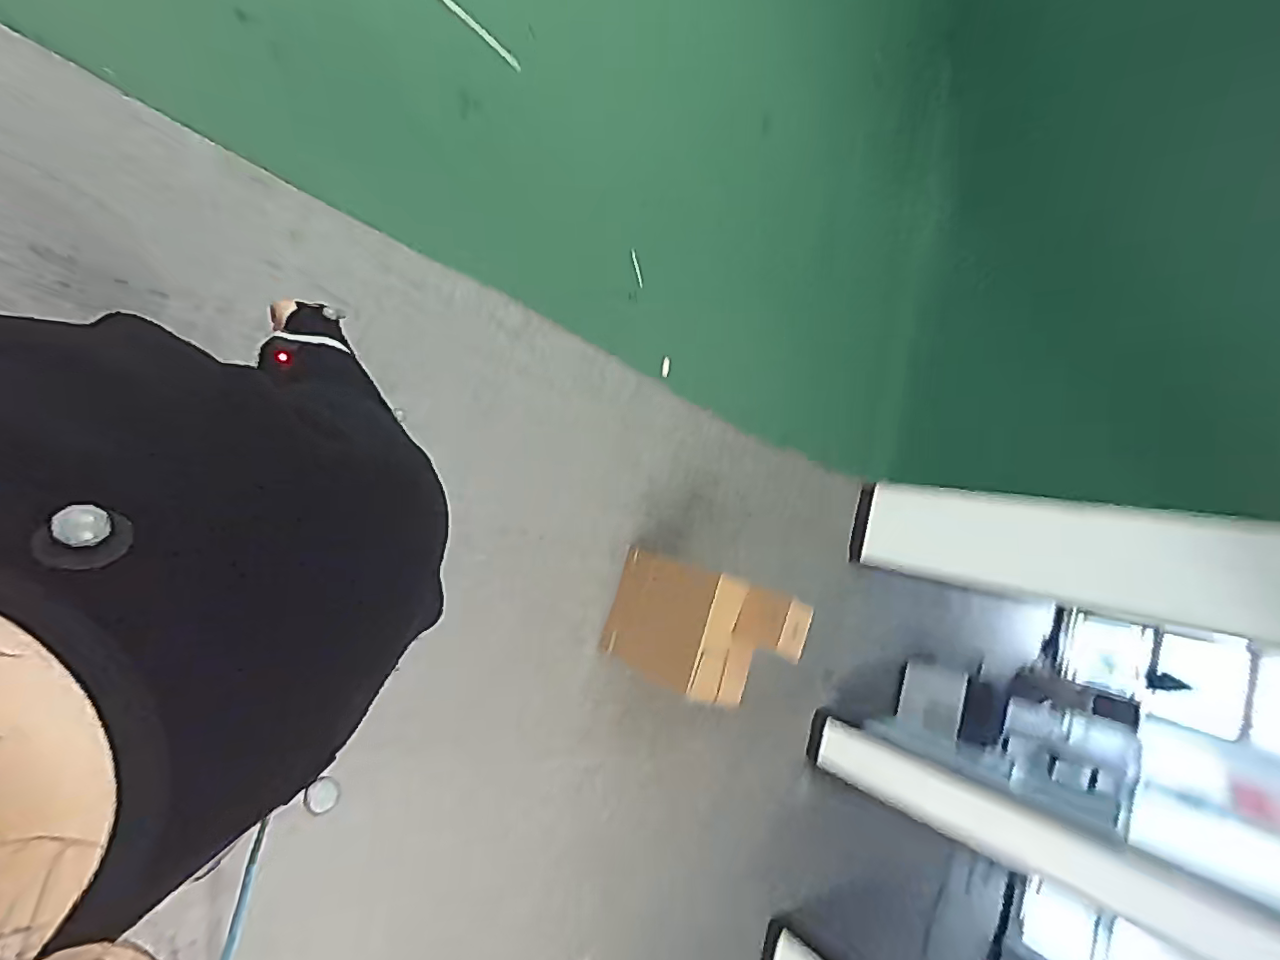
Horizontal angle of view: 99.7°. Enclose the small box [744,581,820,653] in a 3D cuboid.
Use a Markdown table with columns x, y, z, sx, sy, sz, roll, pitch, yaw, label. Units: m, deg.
| x | y | z | sx | sy | sz | roll | pitch | yaw | label |
| --- | --- | --- | --- | --- | --- | --- | --- | --- | --- |
| 0.472 | 0.453 | 1.810 | 0.168 | 0.176 | 0.179 | 31 | 75 | -40 | small box |
